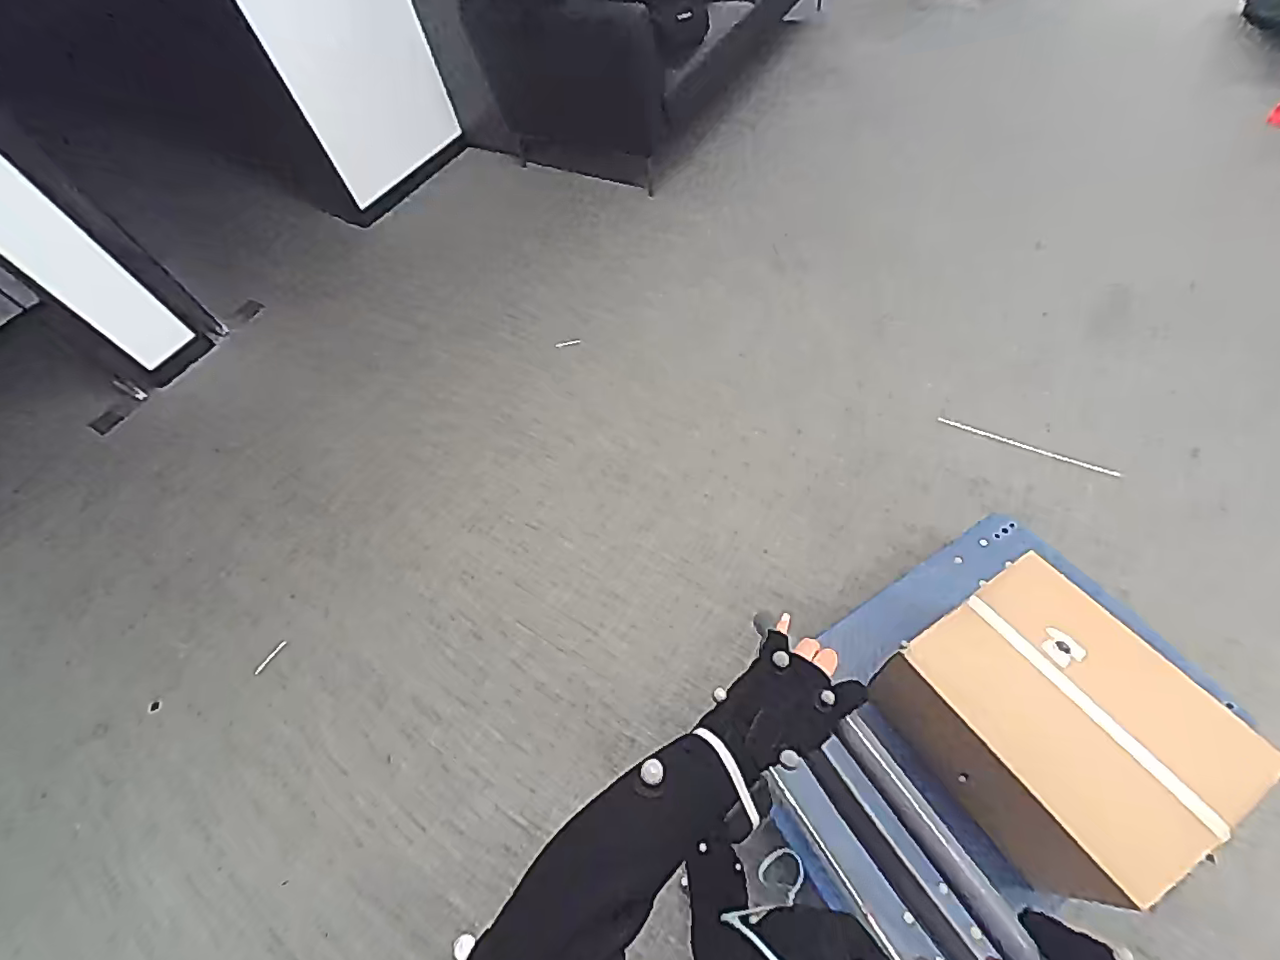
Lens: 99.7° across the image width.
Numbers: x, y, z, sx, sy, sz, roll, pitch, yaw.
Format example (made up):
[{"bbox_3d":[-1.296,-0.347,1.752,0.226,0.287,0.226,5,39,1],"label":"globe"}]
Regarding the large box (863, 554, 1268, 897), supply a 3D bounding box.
[{"bbox_3d":[0.677,0.417,0.956,0.320,0.320,0.408,-32,56,-10],"label":"large box"}]
